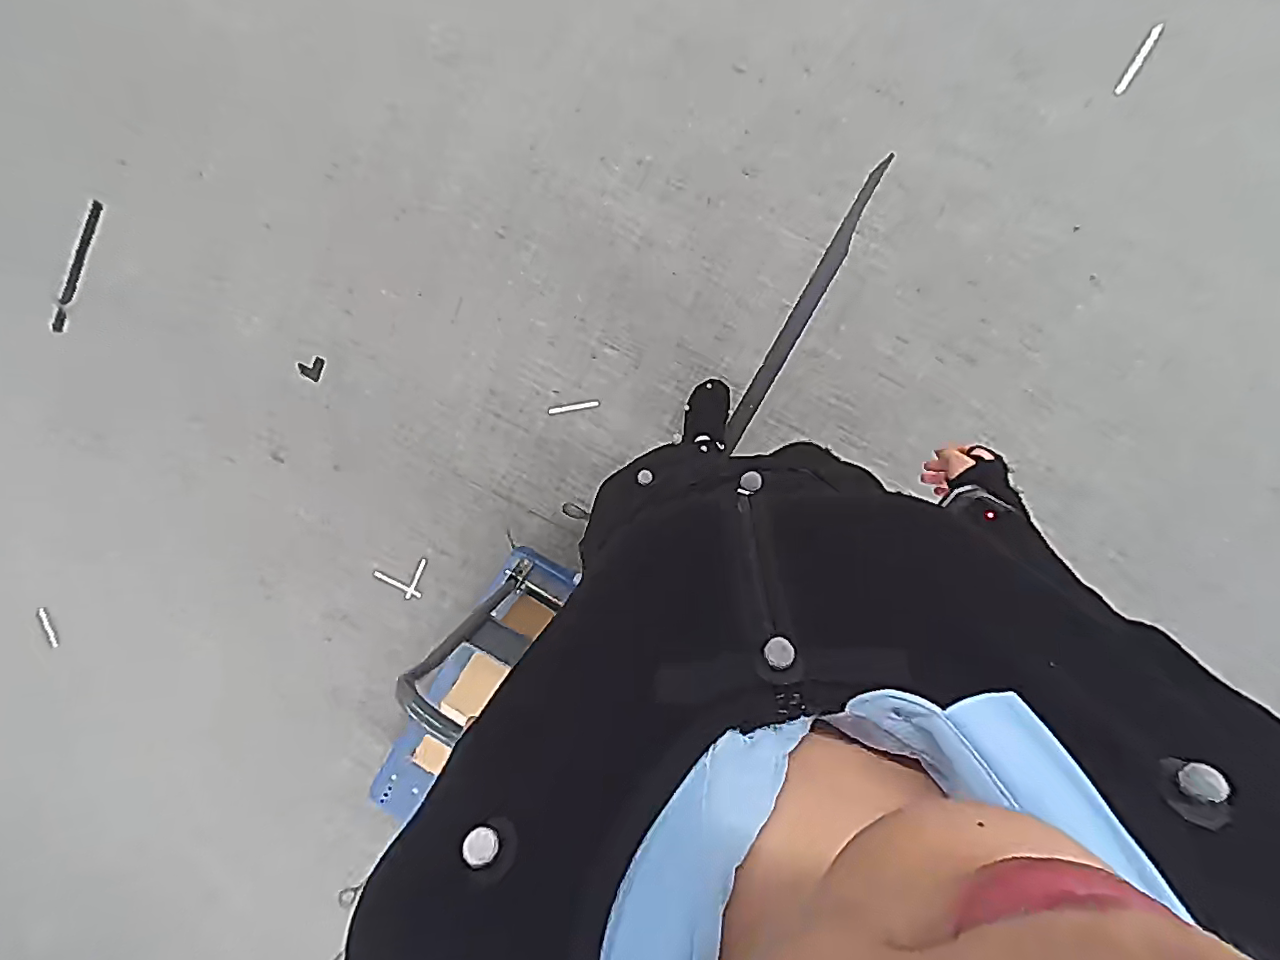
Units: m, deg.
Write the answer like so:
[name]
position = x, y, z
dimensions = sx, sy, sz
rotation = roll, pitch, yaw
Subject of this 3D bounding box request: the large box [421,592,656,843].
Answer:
[large box]
position = -0.214, 0.537, 1.286
dimensions = 0.408, 0.320, 0.320
rotation = 32, 99, 0
